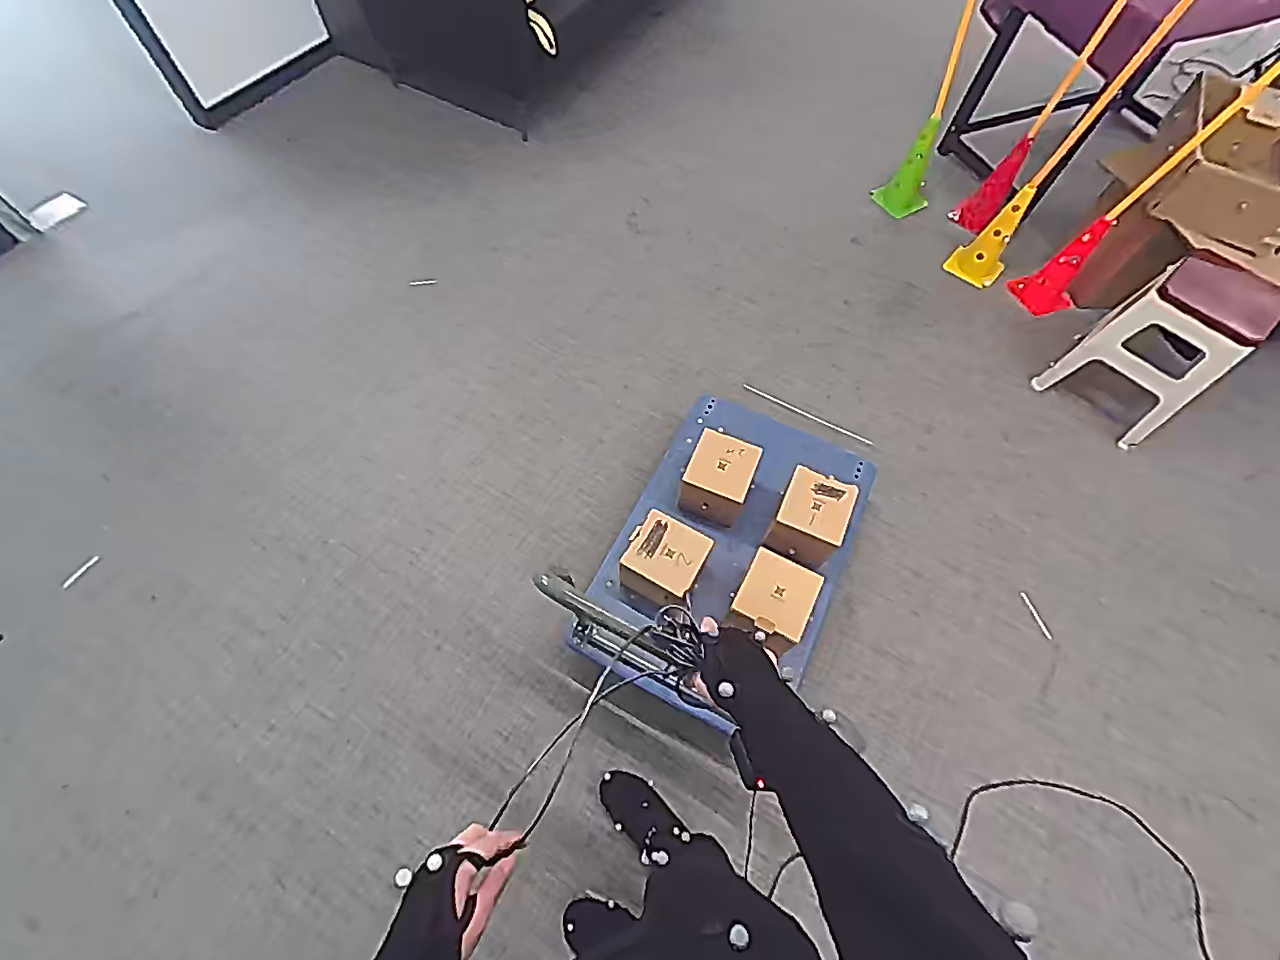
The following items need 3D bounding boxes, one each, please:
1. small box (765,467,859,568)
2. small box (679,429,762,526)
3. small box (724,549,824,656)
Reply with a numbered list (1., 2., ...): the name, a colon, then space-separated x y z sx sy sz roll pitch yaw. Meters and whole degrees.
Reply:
1. small box: 0.442 0.102 1.415 0.168 0.176 0.179 24 66 11
2. small box: 0.212 0.000 1.462 0.168 0.176 0.179 22 65 9
3. small box: 0.316 0.302 1.313 0.168 0.176 0.179 26 66 12
